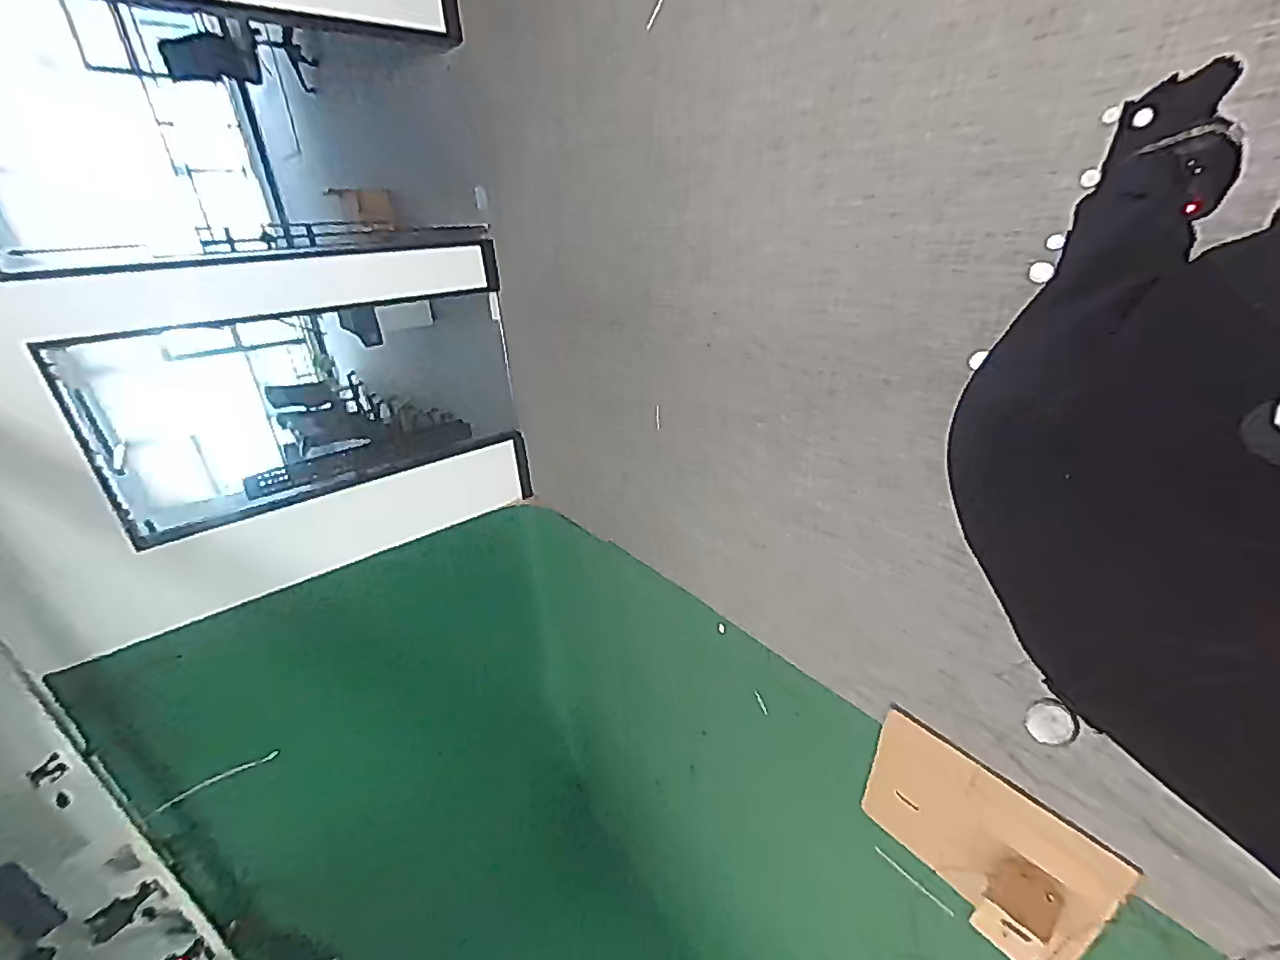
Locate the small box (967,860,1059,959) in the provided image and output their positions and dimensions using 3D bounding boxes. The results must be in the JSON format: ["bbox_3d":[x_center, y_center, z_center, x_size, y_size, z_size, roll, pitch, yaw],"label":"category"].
[{"bbox_3d":[1.136,1.316,1.645,0.168,0.176,0.179,29,131,42],"label":"small box"}]
